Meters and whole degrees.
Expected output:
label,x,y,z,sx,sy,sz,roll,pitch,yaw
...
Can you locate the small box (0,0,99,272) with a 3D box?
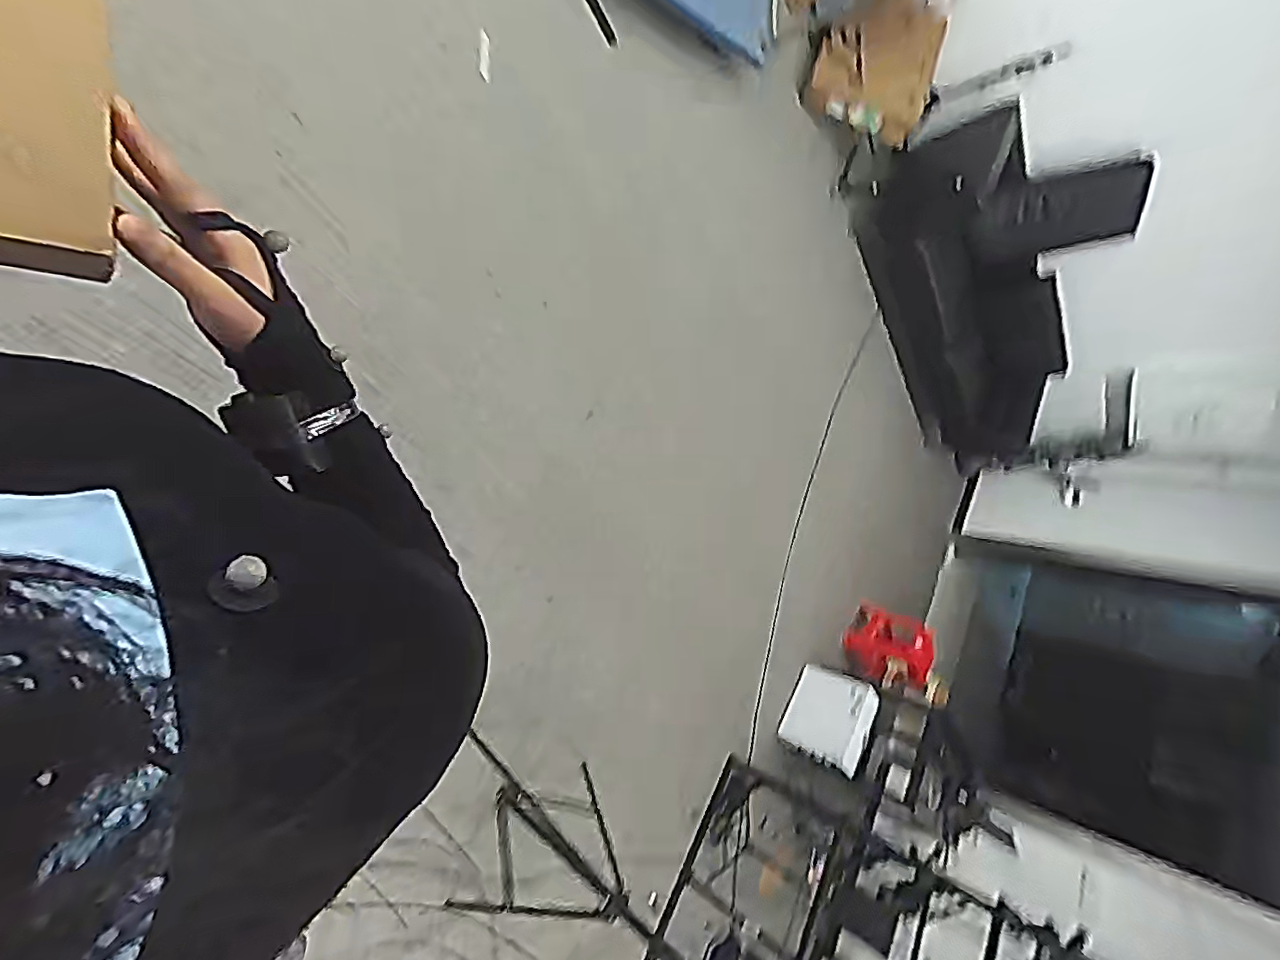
label,x,y,z,sx,sy,sz,roll,pitch,yaw
small box,-0.381,-0.211,0.261,0.168,0.176,0.179,-3,101,-46
